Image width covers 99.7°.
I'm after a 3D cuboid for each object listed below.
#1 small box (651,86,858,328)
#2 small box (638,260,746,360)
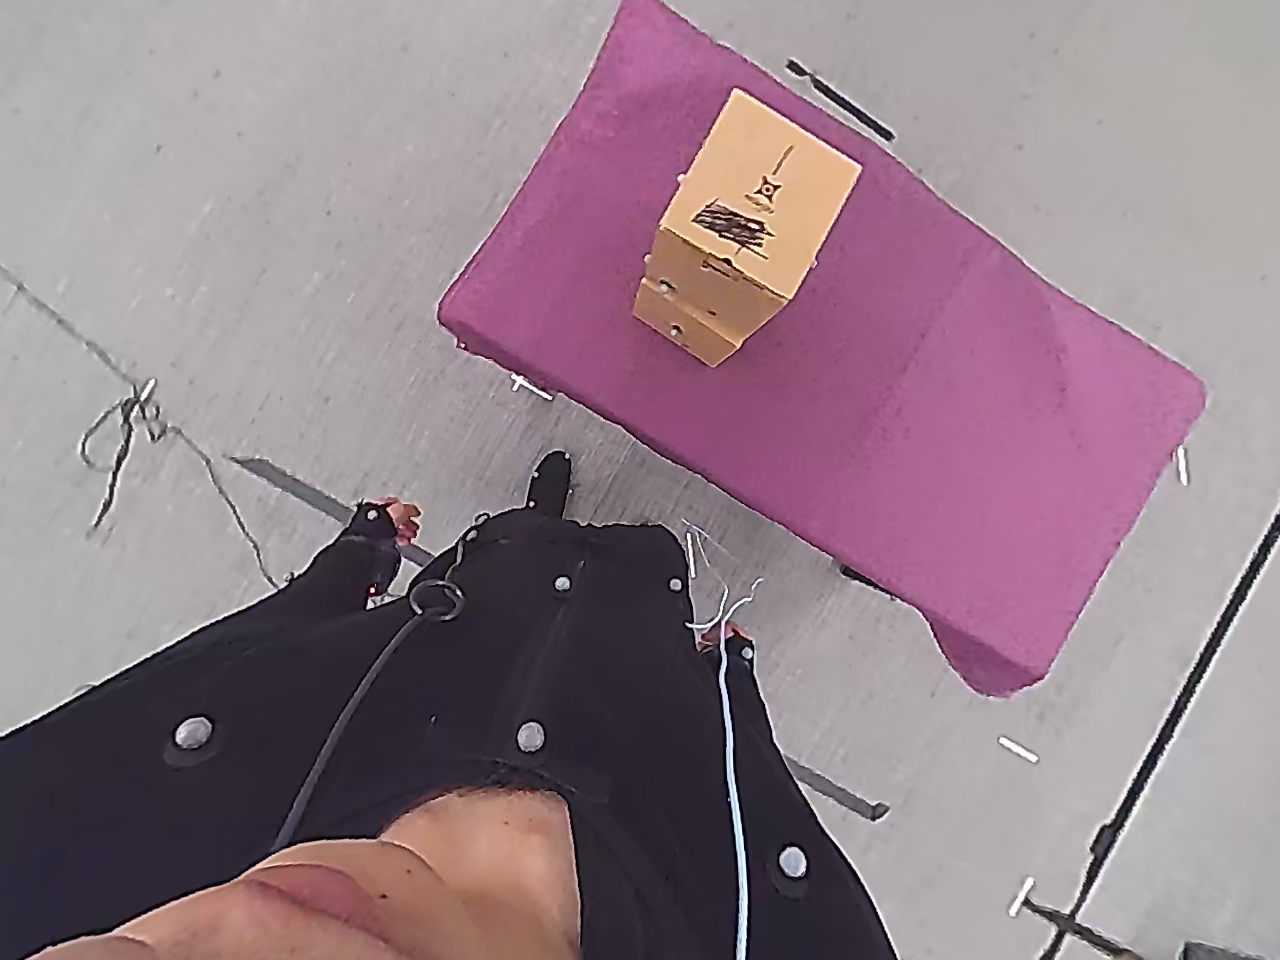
[{"bbox_3d":[0.125,-0.313,0.667,0.168,0.176,0.179,29,89,-6],"label":"small box"},{"bbox_3d":[0.108,-0.307,0.831,0.168,0.176,0.179,34,89,-6],"label":"small box"}]
